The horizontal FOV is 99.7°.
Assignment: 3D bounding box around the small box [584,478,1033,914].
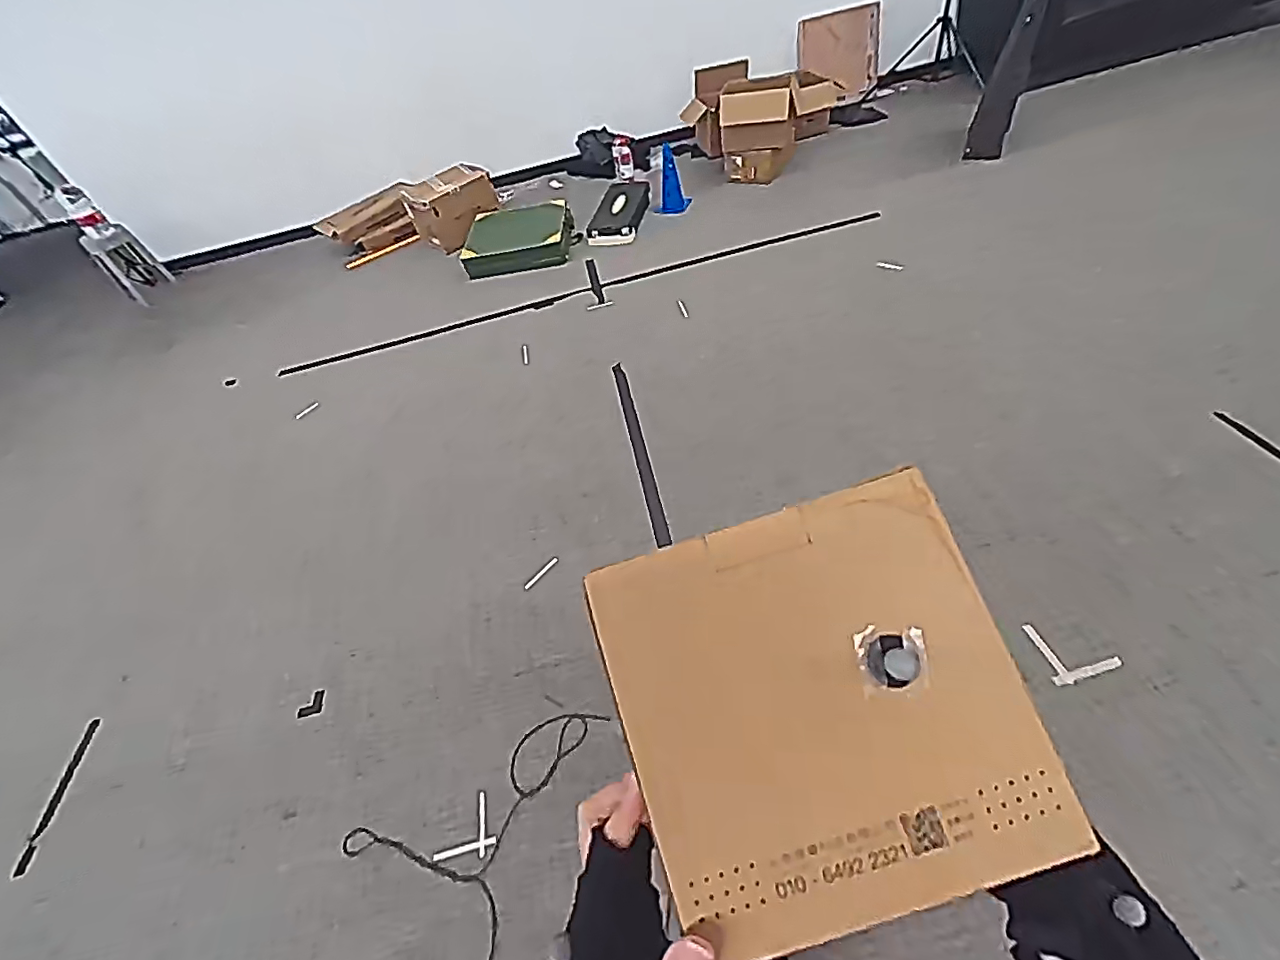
[{"bbox_3d":[0.082,0.119,0.327,0.168,0.179,0.176,-19,76,2],"label":"small box"}]
